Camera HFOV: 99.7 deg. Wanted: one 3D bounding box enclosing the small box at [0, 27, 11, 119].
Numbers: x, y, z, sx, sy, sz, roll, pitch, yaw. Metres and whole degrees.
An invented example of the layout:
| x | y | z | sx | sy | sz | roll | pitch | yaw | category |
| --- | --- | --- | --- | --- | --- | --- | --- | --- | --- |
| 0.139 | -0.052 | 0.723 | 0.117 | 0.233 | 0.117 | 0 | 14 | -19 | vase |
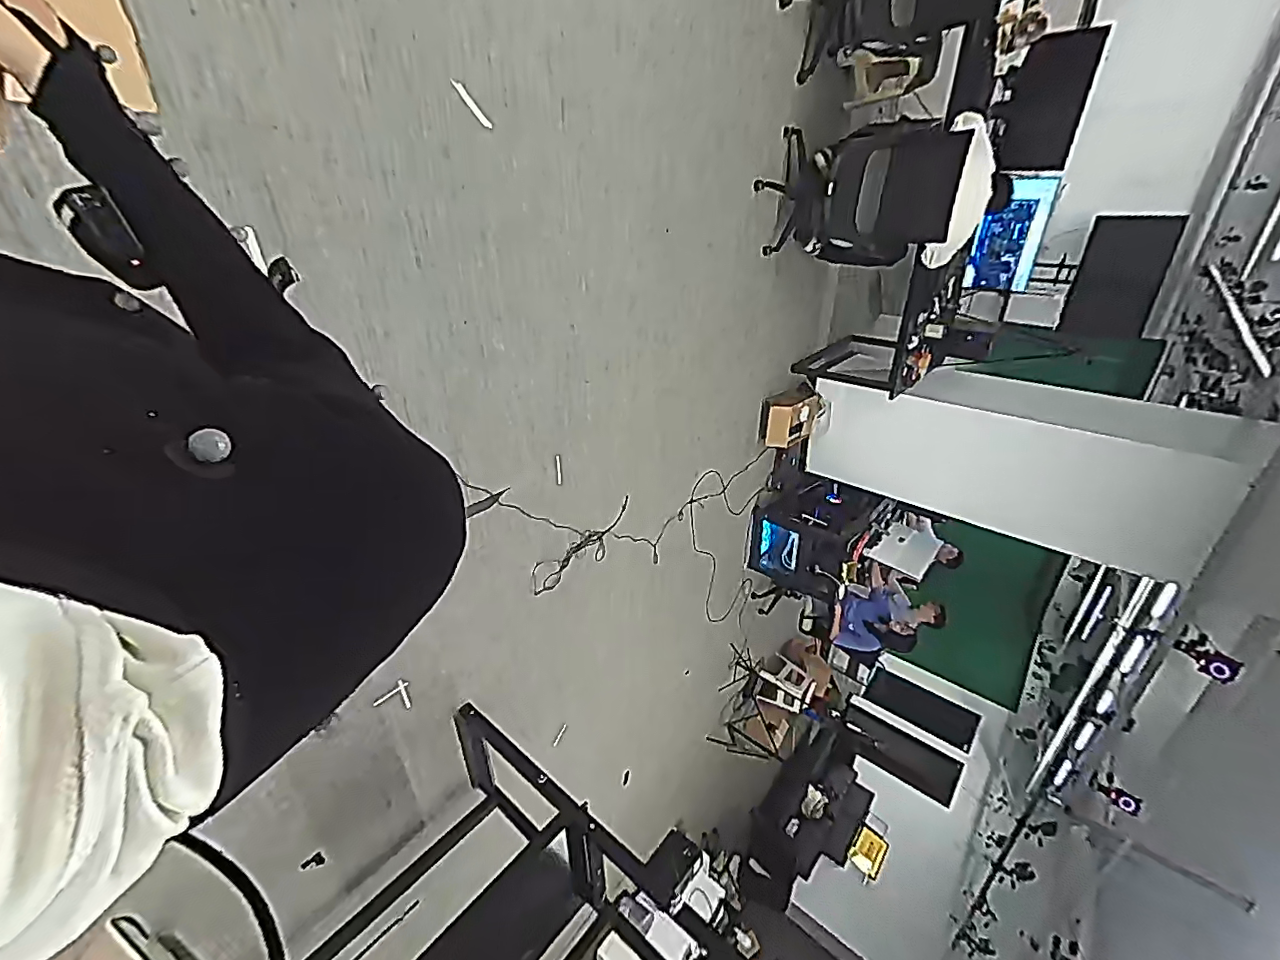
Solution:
| x | y | z | sx | sy | sz | roll | pitch | yaw | category |
| --- | --- | --- | --- | --- | --- | --- | --- | --- | --- |
| -0.611 | -0.375 | 0.387 | 0.179 | 0.176 | 0.168 | -24 | 107 | -46 | small box |
